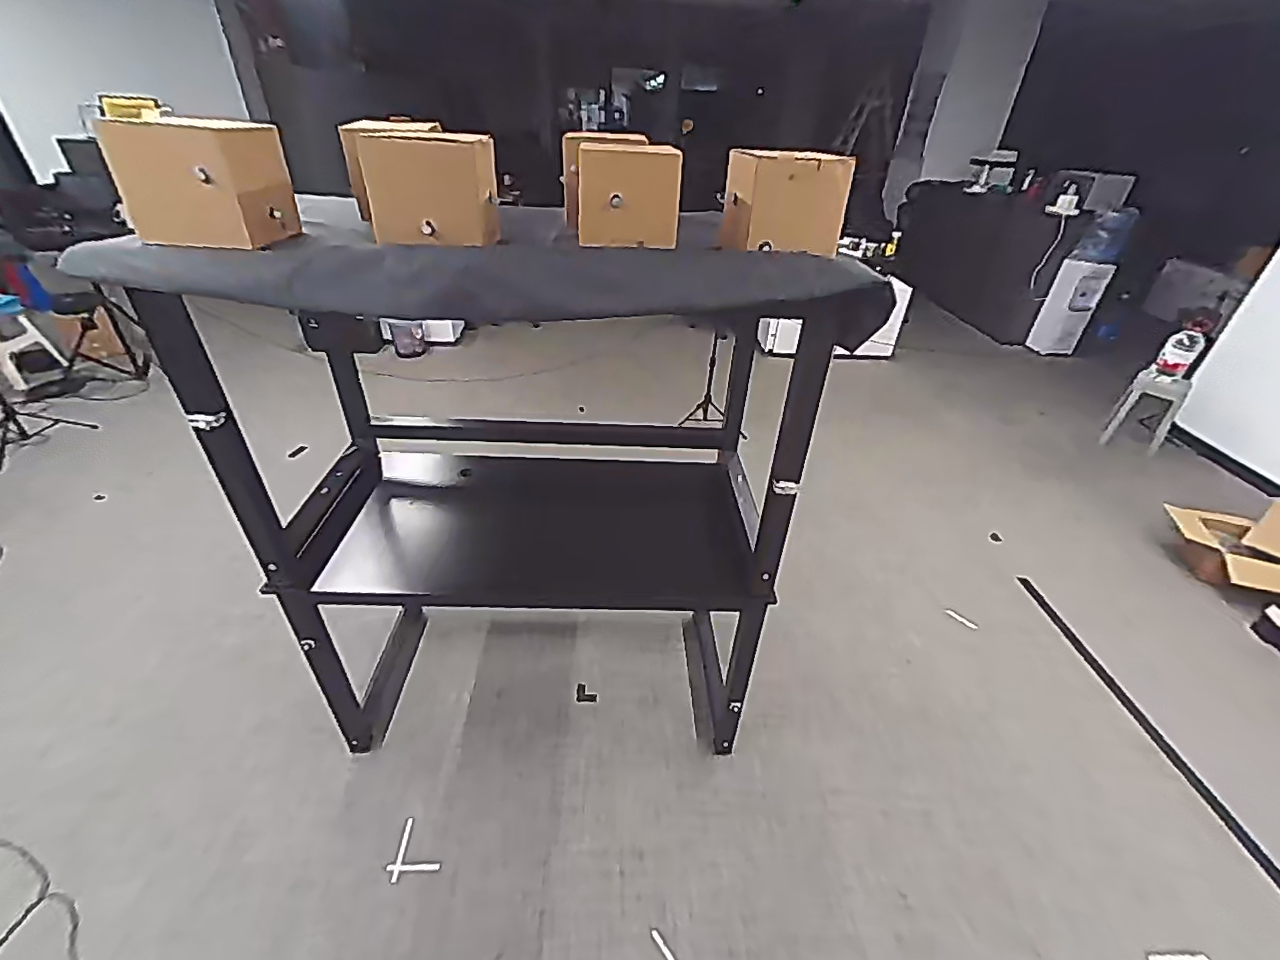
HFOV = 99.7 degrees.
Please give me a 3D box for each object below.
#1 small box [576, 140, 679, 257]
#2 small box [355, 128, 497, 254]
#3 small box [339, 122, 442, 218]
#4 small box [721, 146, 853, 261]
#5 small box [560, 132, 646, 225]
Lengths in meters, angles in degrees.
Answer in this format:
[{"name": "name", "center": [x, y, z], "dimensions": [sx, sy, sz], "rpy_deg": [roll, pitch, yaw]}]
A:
[{"name": "small box", "center": [-0.024, -0.500, 0.961], "dimensions": [0.168, 0.176, 0.179], "rpy_deg": [0, 34, -4]}, {"name": "small box", "center": [-0.346, -0.489, 0.917], "dimensions": [0.179, 0.176, 0.168], "rpy_deg": [1, 33, -4]}, {"name": "small box", "center": [-0.509, -0.658, 1.153], "dimensions": [0.168, 0.176, 0.179], "rpy_deg": [-4, 35, -8]}, {"name": "small box", "center": [0.251, -0.495, 0.967], "dimensions": [0.168, 0.176, 0.179], "rpy_deg": [-2, 33, -7]}, {"name": "small box", "center": [-0.077, -0.664, 1.193], "dimensions": [0.179, 0.176, 0.168], "rpy_deg": [1, 35, -3]}]
